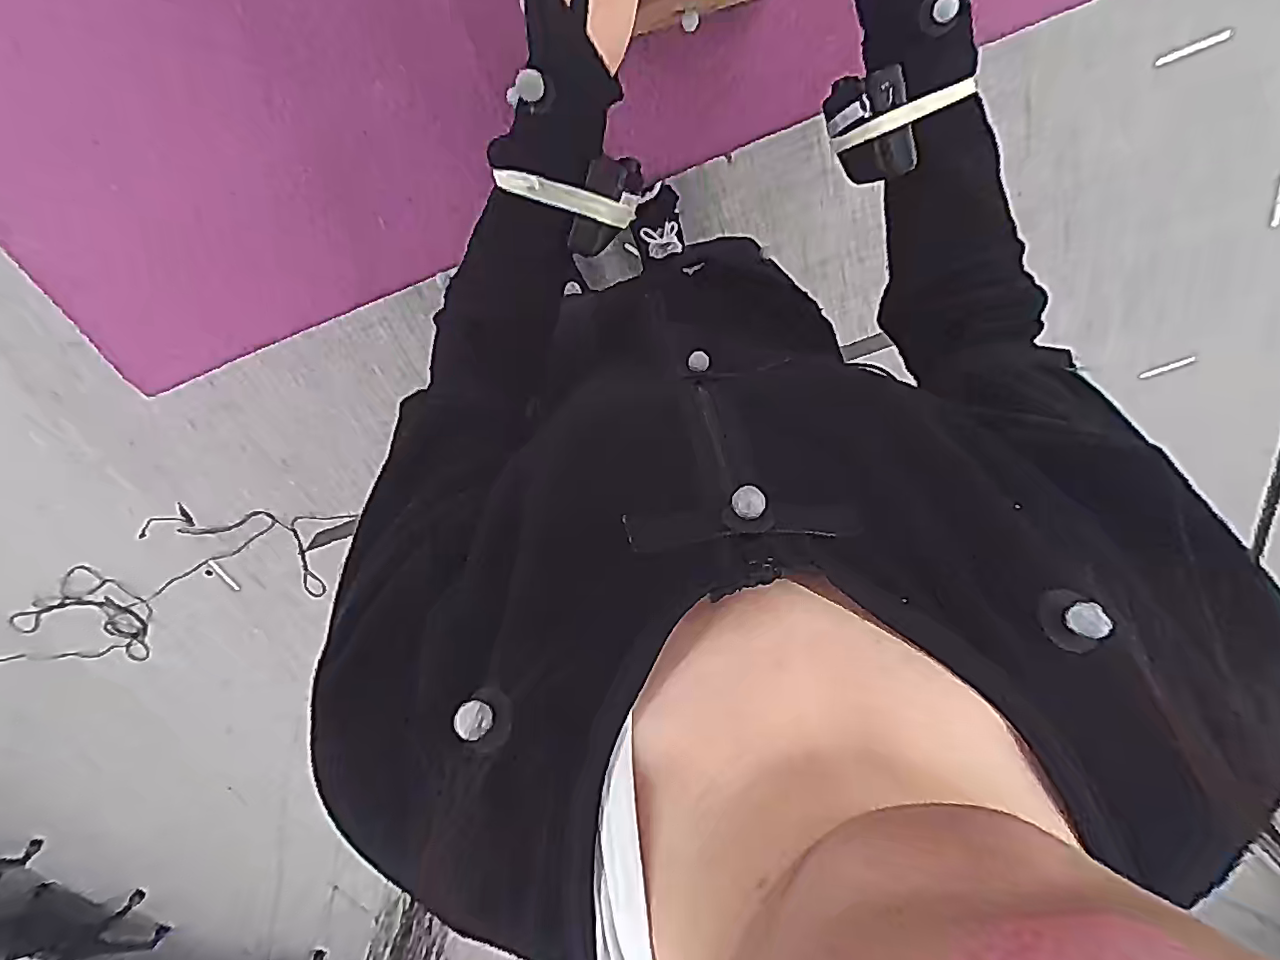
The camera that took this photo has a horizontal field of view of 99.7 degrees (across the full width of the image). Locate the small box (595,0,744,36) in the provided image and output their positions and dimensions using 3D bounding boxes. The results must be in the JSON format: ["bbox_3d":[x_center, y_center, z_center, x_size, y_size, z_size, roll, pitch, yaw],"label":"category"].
[{"bbox_3d":[0.028,-0.492,0.423,0.168,0.176,0.179,-13,120,4],"label":"small box"}]
